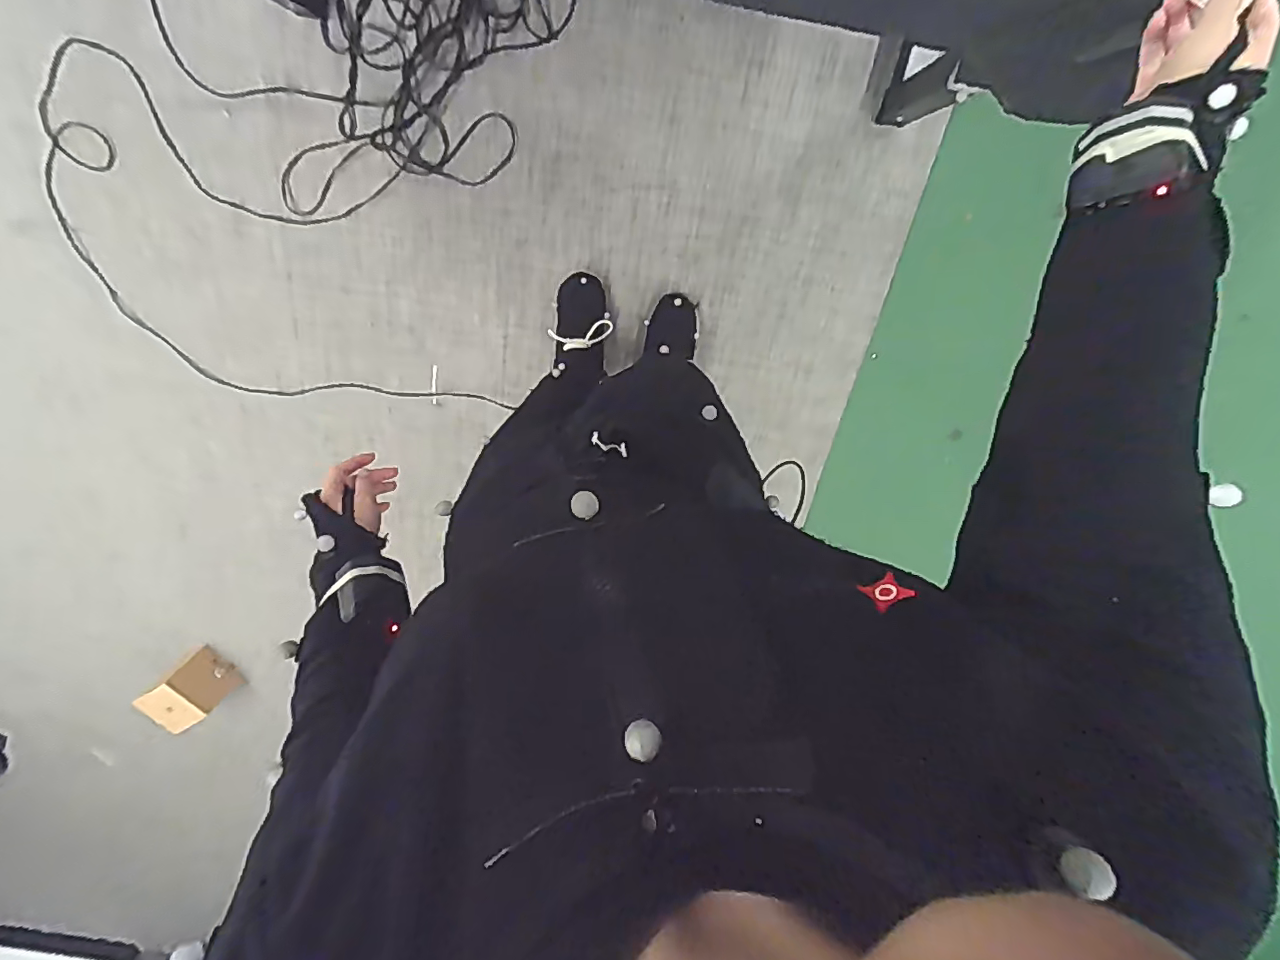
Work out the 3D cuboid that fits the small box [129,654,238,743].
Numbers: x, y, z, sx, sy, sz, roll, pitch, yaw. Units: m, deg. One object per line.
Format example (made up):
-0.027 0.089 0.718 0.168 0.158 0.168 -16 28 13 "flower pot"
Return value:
-1.451 0.696 1.733 0.179 0.176 0.168 -30 111 16 "small box"
